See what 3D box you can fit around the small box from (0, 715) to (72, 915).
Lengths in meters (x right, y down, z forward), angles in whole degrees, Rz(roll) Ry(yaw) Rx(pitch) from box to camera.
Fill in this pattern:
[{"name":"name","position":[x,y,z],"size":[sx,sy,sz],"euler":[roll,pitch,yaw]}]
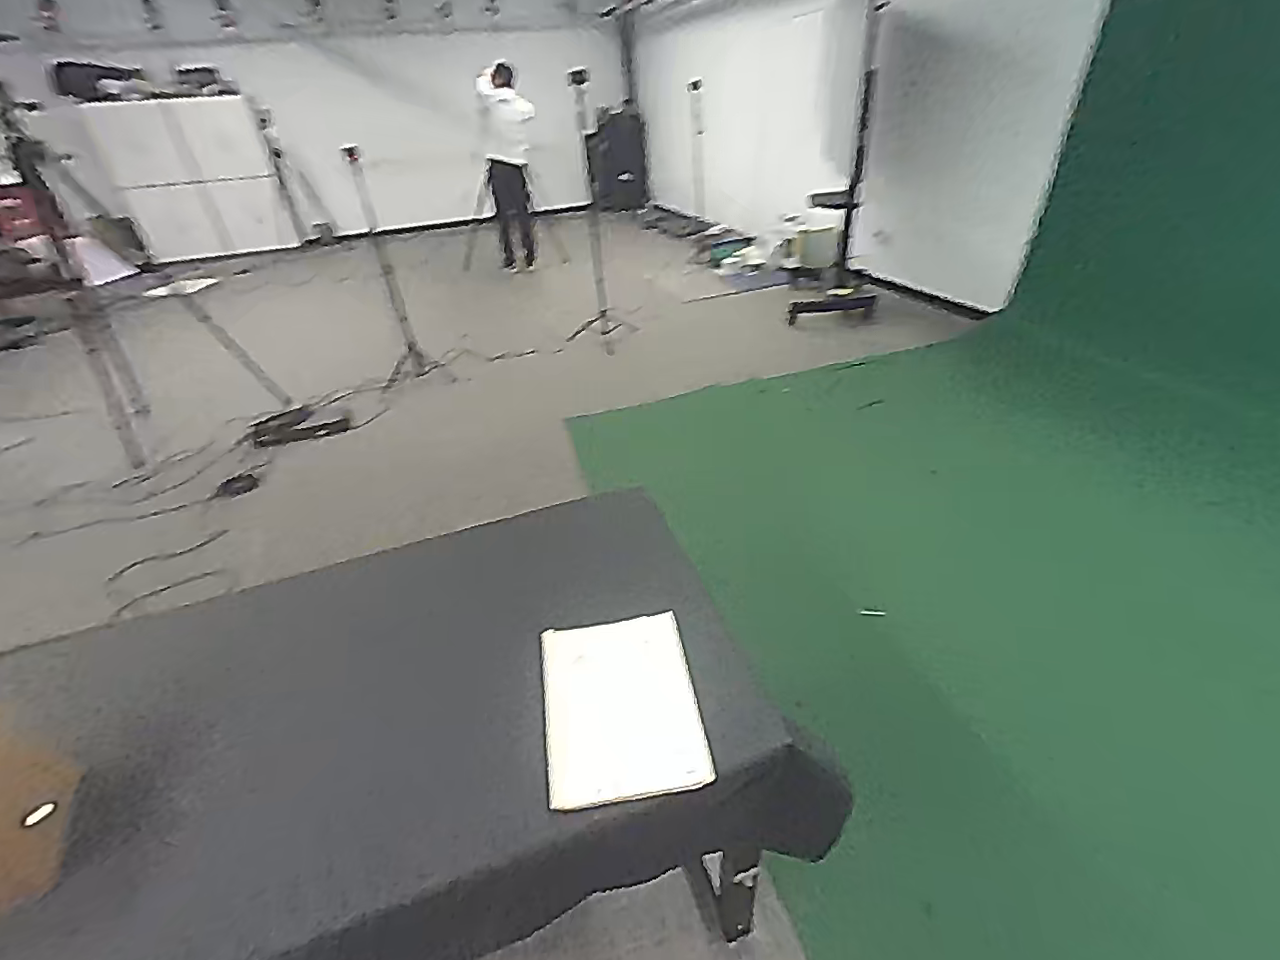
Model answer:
[{"name":"small box","position":[-0.780,0.386,0.573],"size":[0.179,0.176,0.168],"euler":[-22,37,-24]}]
